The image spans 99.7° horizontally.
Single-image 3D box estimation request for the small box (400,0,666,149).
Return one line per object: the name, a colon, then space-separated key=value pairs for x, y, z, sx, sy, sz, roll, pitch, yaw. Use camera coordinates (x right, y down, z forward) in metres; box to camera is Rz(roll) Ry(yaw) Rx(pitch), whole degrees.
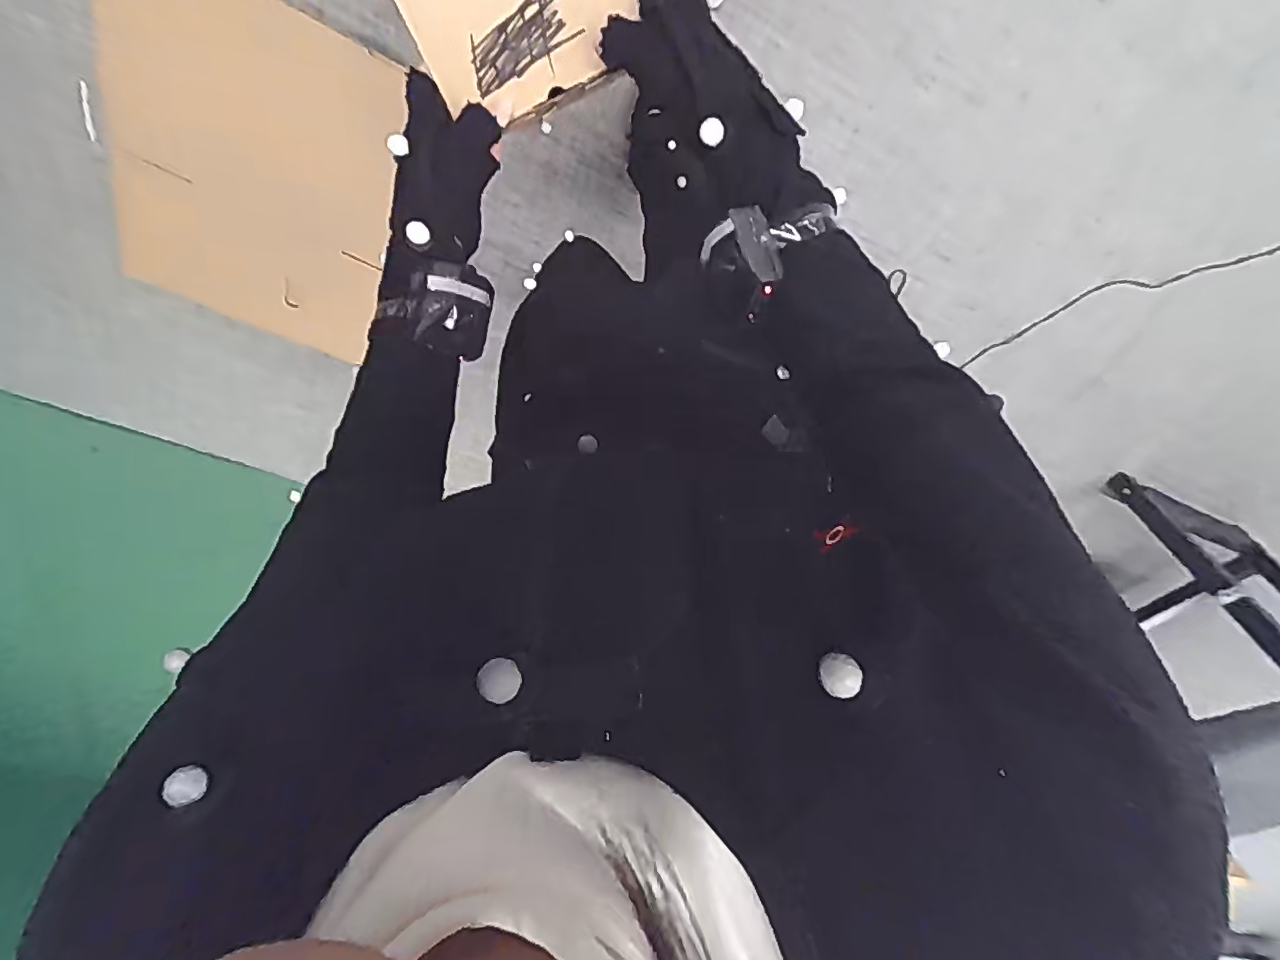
small box: x=-0.086 y=-0.409 z=0.439 sx=0.168 sy=0.176 sz=0.179 roll=-19 pitch=123 yaw=19
